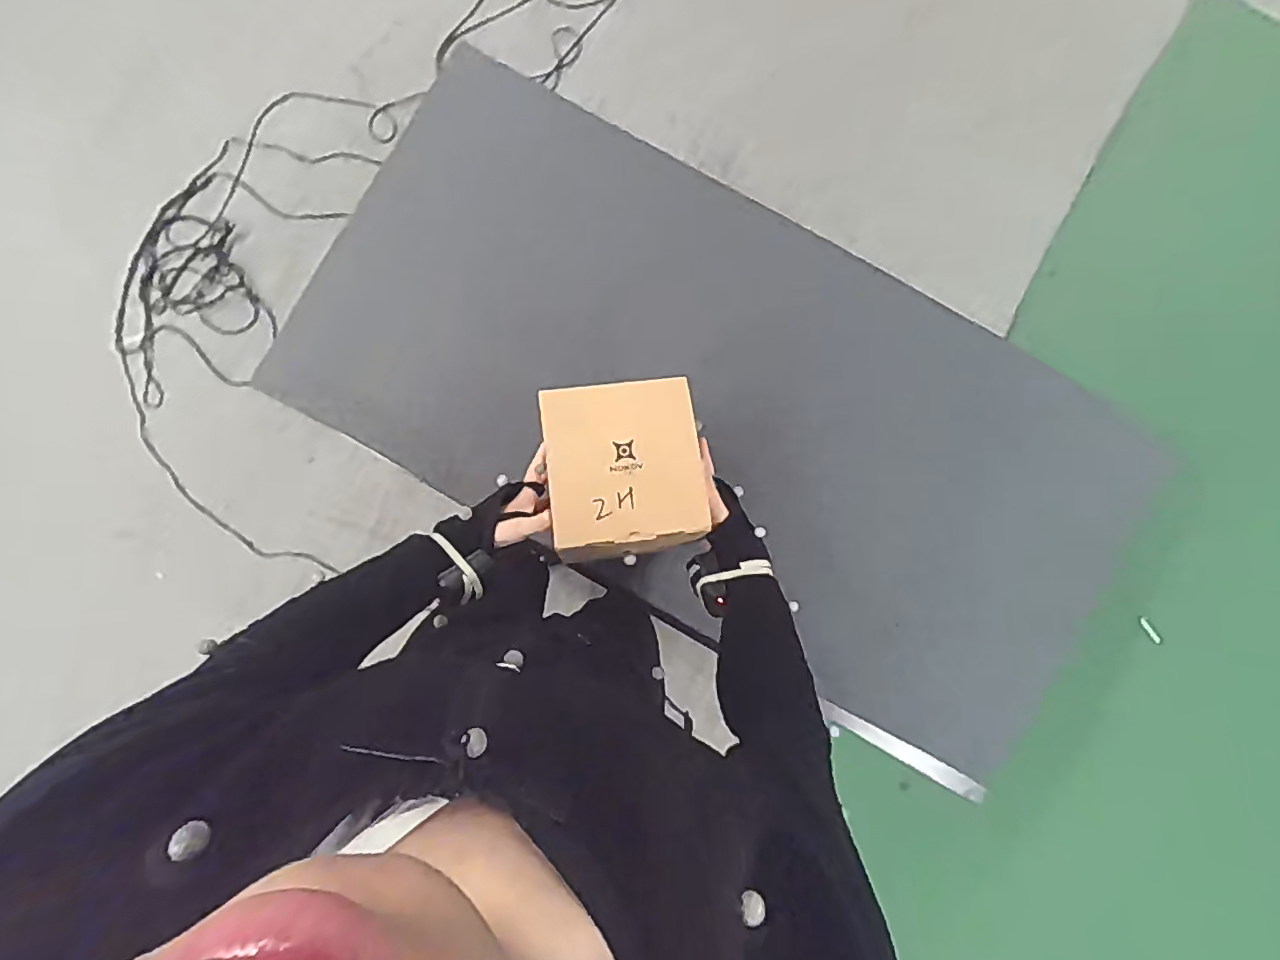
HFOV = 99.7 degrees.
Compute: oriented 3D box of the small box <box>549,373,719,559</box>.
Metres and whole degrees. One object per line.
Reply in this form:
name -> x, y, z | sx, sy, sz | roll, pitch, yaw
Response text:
small box -> -0.015, -0.008, 0.642 | 0.168, 0.176, 0.179 | -6, 77, -5
